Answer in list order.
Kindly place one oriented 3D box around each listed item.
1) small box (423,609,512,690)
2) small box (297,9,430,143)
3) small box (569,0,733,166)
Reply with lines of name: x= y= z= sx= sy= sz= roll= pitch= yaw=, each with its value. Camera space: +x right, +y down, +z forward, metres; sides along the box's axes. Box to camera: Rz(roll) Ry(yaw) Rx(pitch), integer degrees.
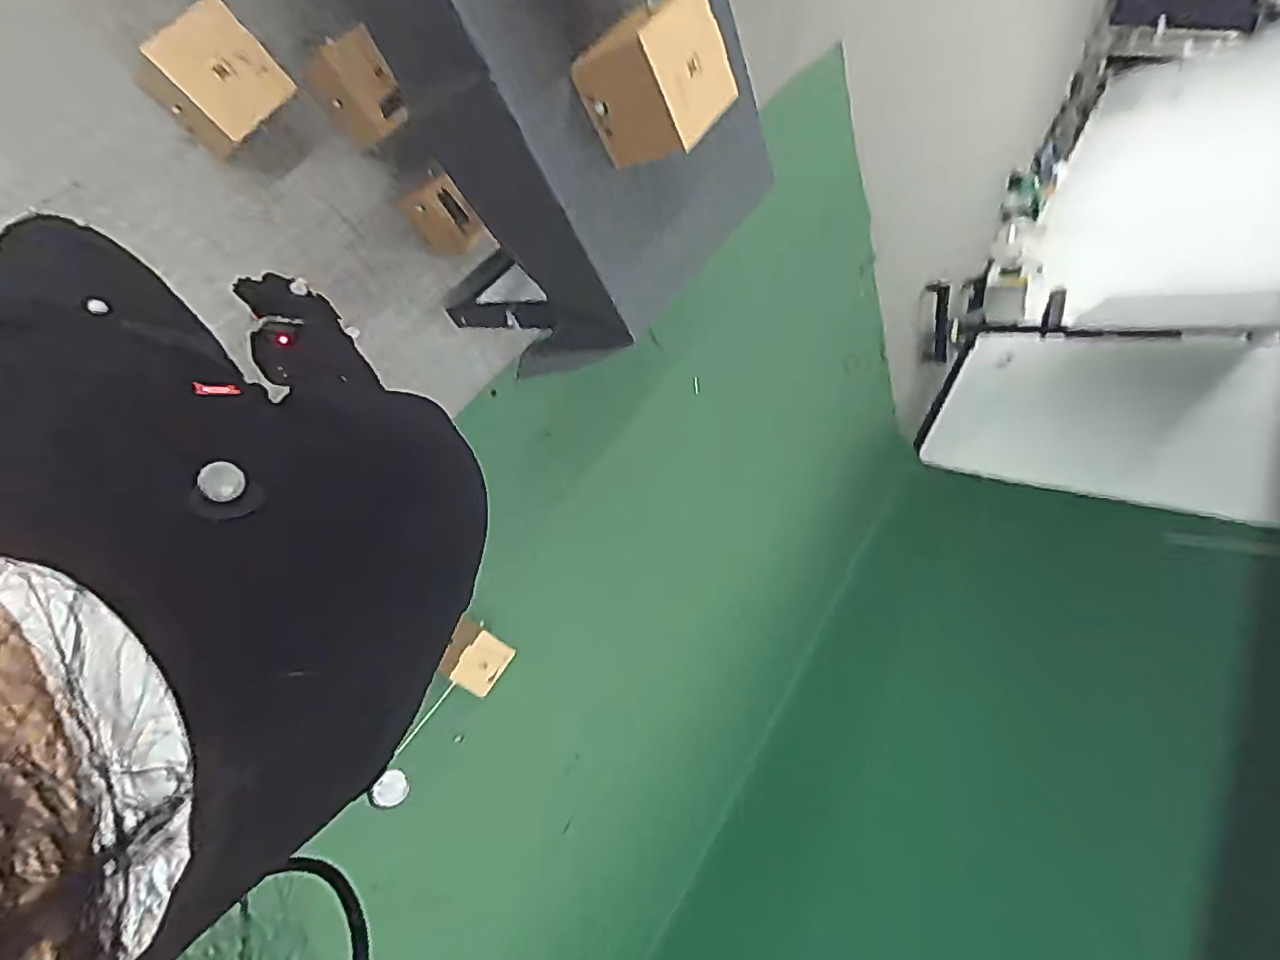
small box: x=-0.557 y=0.537 z=1.737 sx=0.168 sy=0.176 sz=0.179 roll=-54 pitch=134 yaw=-21
small box: x=-0.616 y=-0.886 z=1.207 sx=0.168 sy=0.176 sz=0.179 roll=-54 pitch=133 yaw=-20
small box: x=0.018 y=-0.646 z=0.877 sx=0.179 sy=0.176 sz=0.168 roll=-55 pitch=134 yaw=-19
